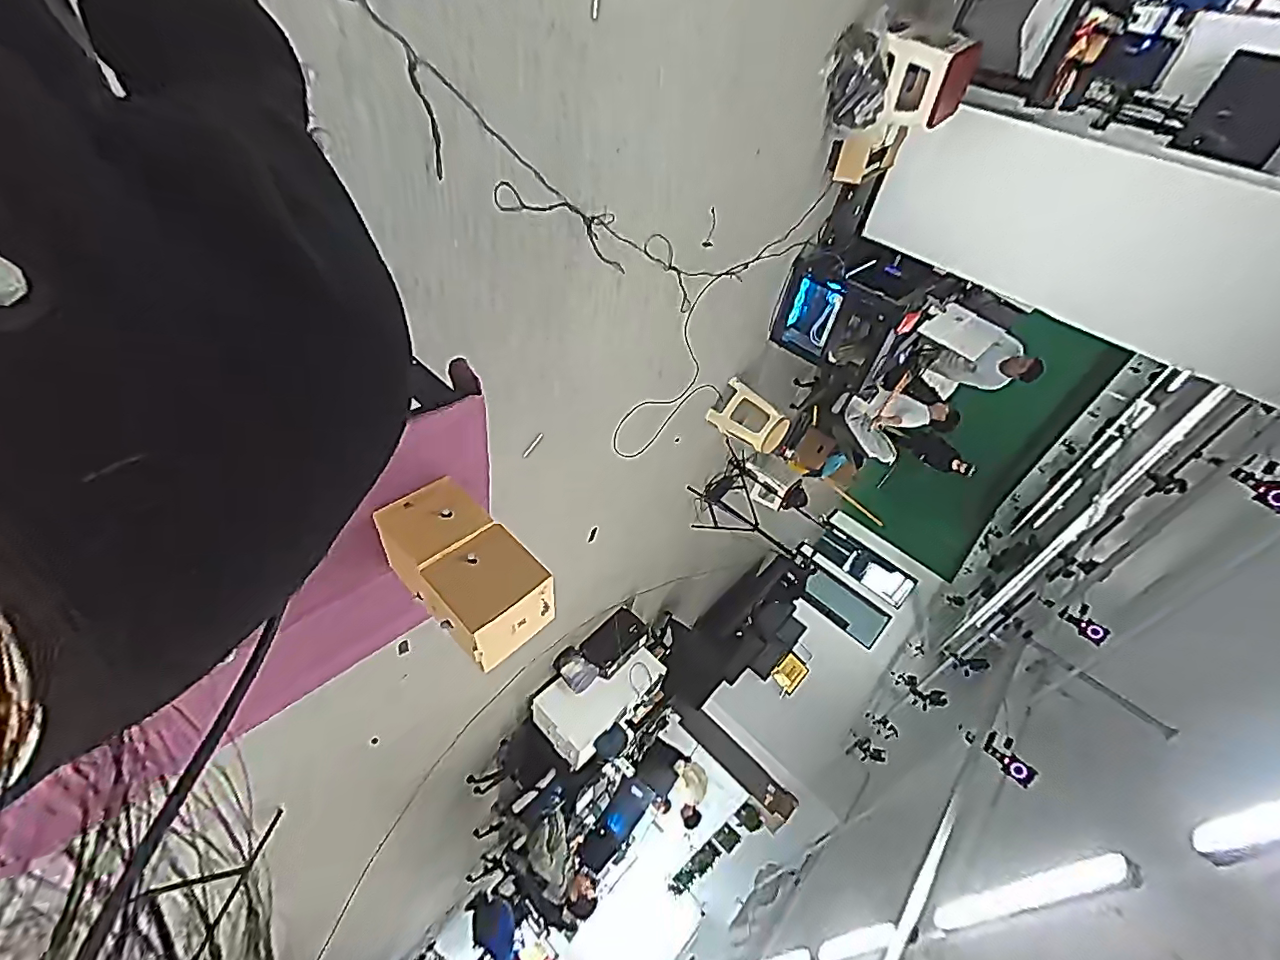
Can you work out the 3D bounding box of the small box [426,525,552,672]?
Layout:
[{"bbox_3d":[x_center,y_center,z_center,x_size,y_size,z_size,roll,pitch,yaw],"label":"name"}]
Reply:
[{"bbox_3d":[-0.290,0.222,1.038,0.179,0.176,0.168,-34,151,-32],"label":"small box"}]

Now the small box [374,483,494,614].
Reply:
[{"bbox_3d":[-0.410,0.128,1.098,0.168,0.176,0.179,-34,150,-34],"label":"small box"}]
